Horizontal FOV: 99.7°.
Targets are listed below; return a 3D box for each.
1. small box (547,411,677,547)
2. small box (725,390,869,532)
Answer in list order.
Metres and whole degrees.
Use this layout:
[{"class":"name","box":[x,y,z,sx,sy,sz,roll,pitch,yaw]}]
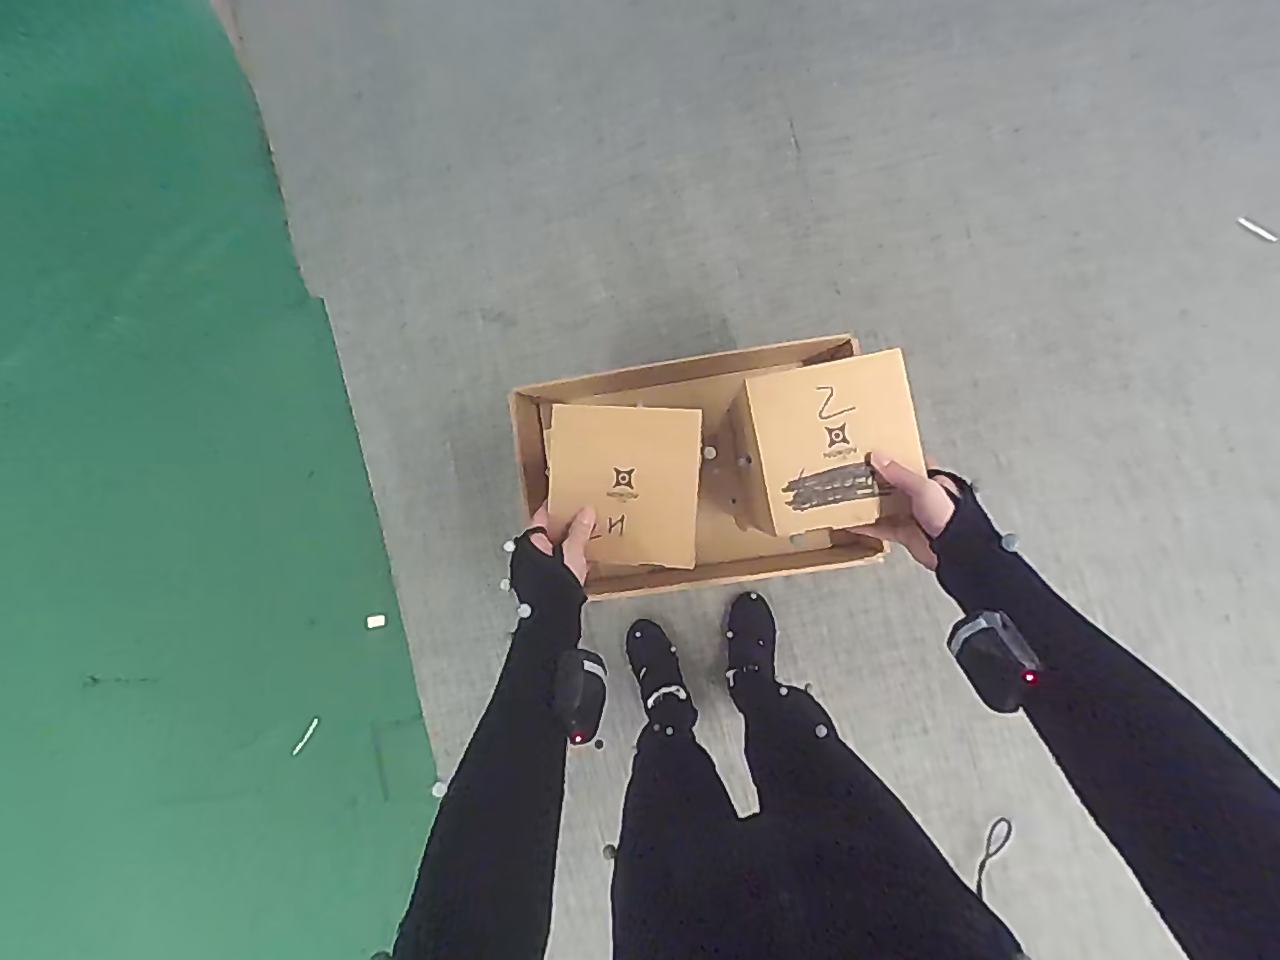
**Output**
[{"class":"small box","box":[-0.035,-0.001,0.826,0.168,0.176,0.179,-7,91,6]},{"class":"small box","box":[0.221,-0.025,0.801,0.168,0.176,0.179,-7,88,5]}]
